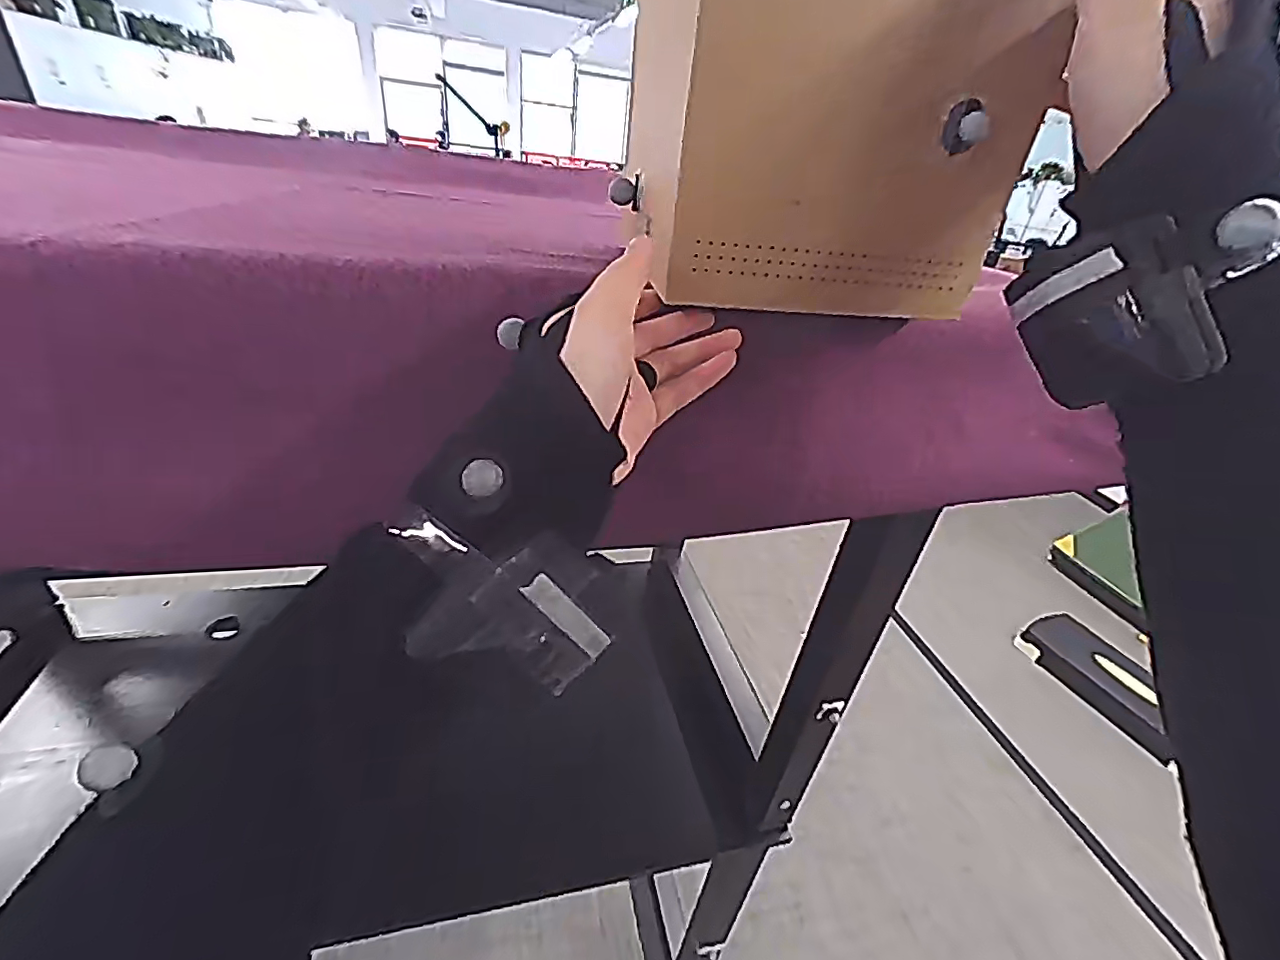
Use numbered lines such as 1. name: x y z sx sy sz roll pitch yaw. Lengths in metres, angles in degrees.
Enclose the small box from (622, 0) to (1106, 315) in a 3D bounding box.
1. small box: 0.091 -0.199 0.304 0.179 0.176 0.168 0 34 -11
